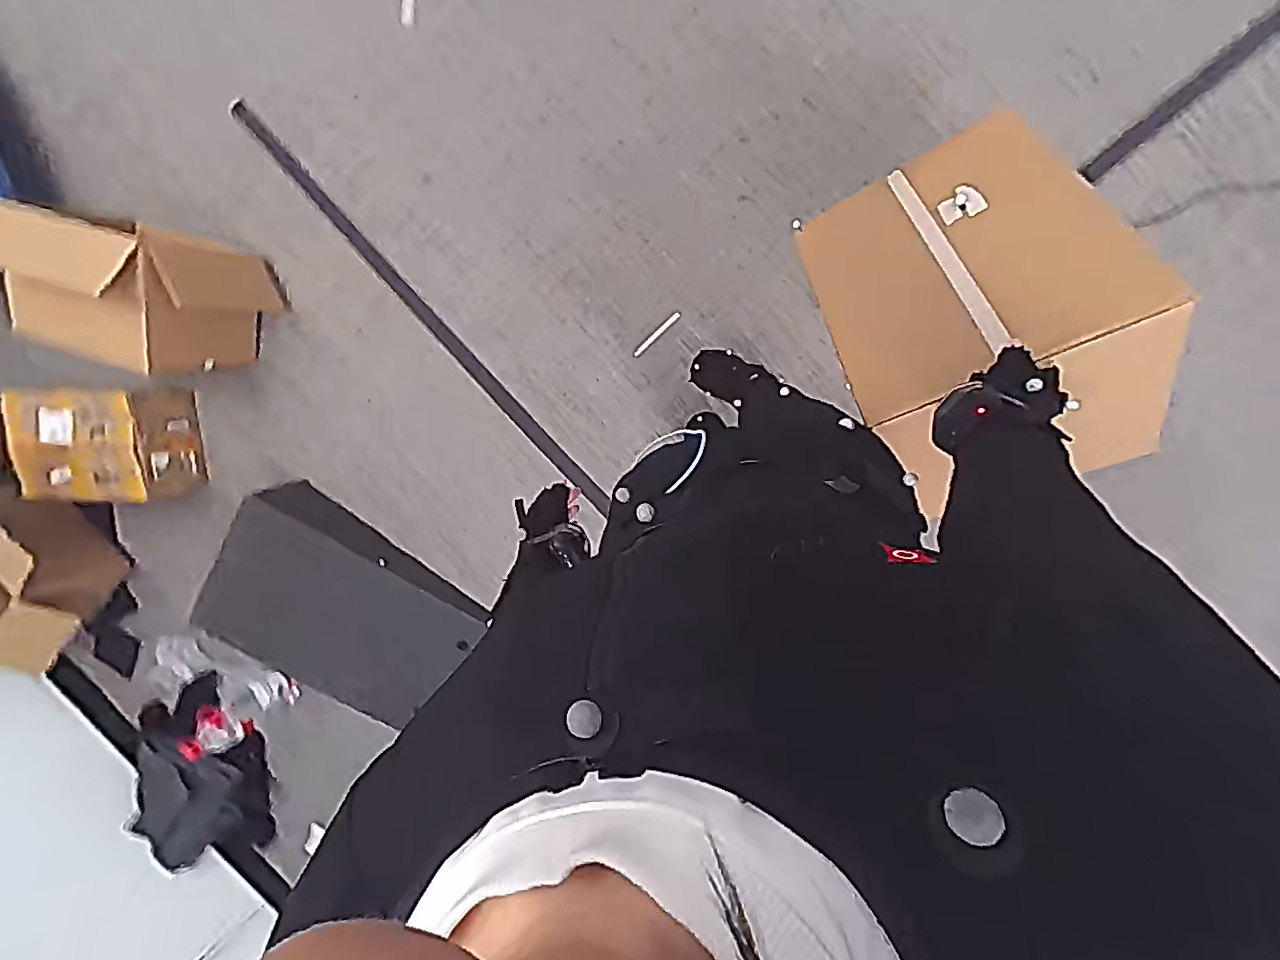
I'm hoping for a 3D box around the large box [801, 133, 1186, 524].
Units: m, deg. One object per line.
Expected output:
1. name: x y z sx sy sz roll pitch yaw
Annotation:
1. large box: 0.484 -0.206 0.811 0.320 0.320 0.408 -22 51 24
